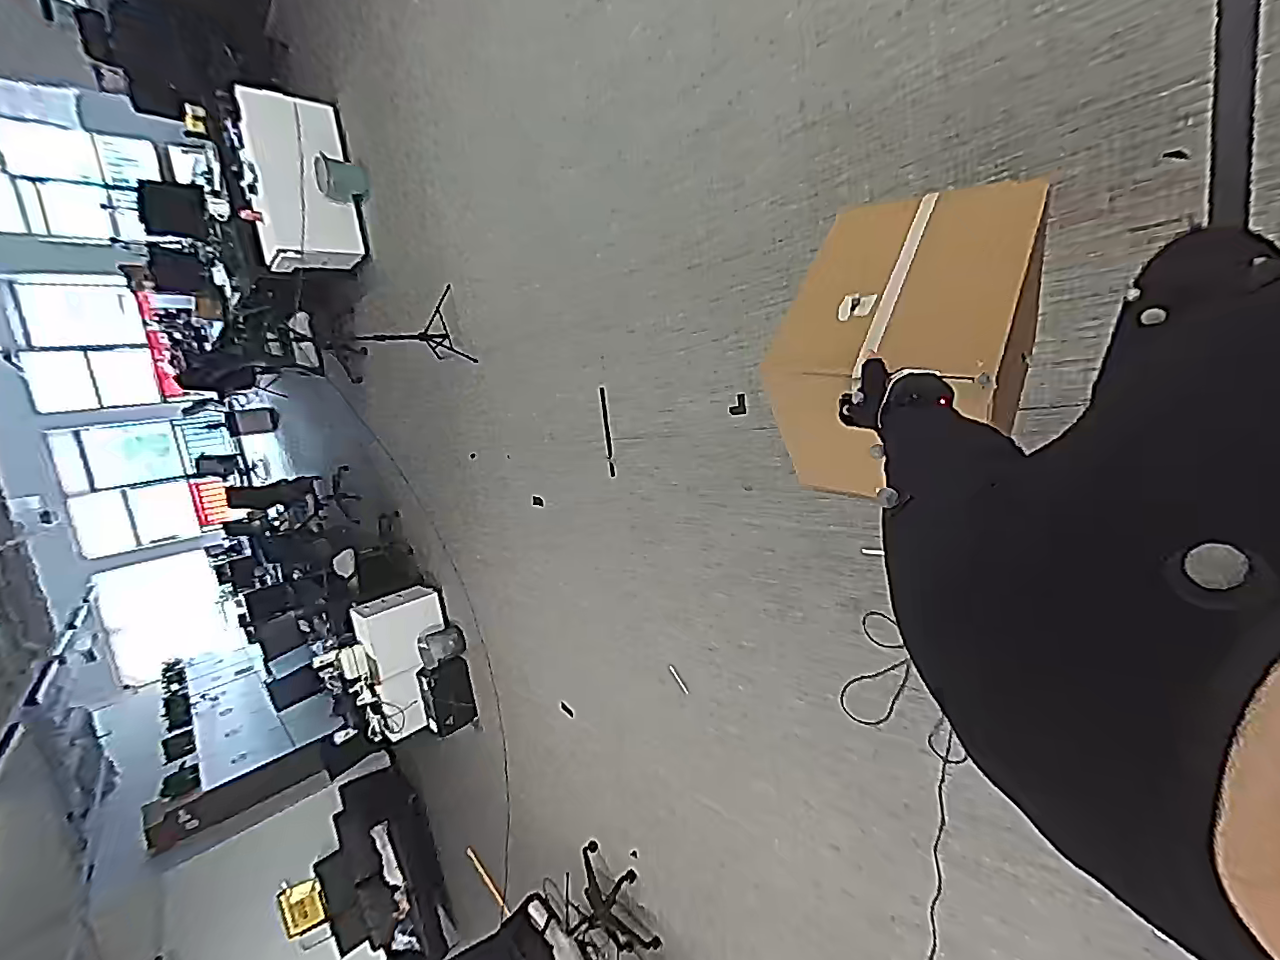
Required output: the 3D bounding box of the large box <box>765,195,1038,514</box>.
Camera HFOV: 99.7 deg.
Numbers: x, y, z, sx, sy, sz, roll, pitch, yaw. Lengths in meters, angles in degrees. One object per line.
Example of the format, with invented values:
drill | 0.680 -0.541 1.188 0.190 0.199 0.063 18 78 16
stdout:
large box | 0.460 -0.208 0.929 0.320 0.408 0.320 9 149 38
